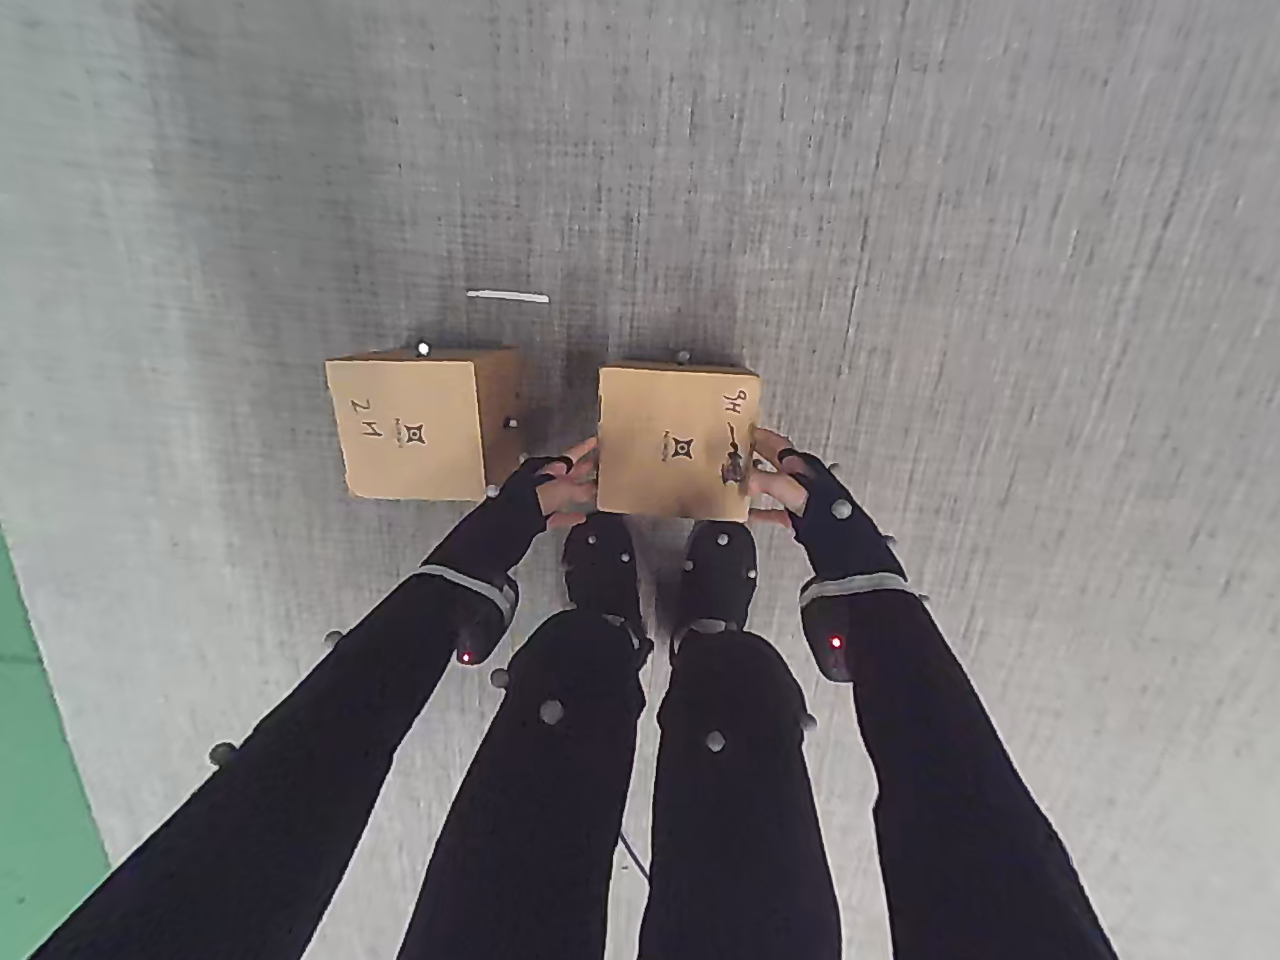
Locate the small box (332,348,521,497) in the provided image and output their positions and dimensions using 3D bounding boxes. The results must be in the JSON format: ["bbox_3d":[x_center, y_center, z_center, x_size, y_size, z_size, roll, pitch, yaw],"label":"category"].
[{"bbox_3d":[-0.263,-0.085,0.715,0.179,0.176,0.168,2,108,5],"label":"small box"}]
